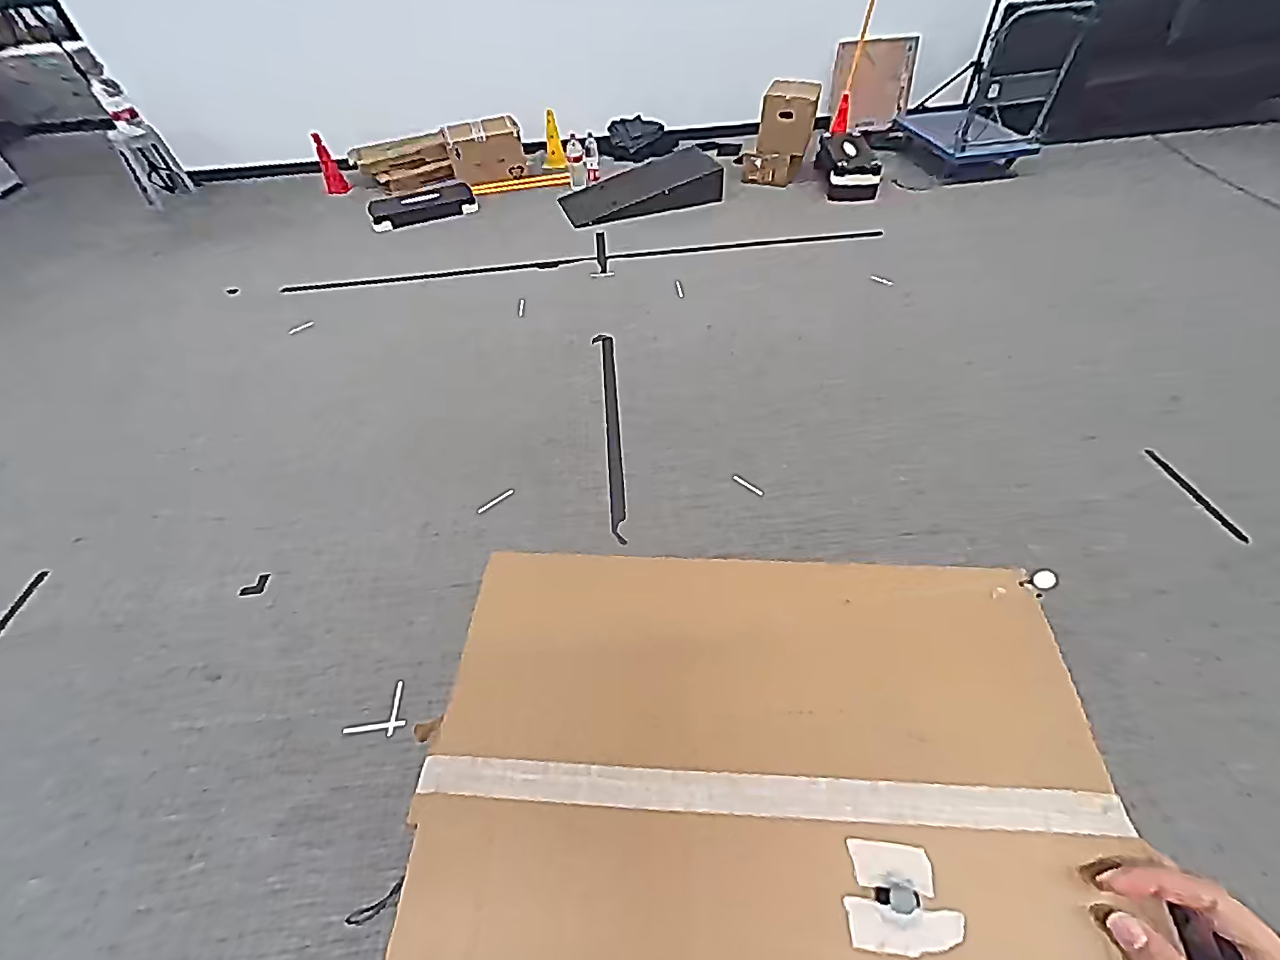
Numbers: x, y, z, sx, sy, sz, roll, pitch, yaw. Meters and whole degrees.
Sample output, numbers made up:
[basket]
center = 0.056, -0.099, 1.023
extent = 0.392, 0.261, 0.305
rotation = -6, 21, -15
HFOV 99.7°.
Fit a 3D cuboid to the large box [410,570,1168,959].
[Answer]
[large box]
center = 0.081, 0.285, 0.446
extent = 0.408, 0.320, 0.320
rotation = 1, 54, 3
